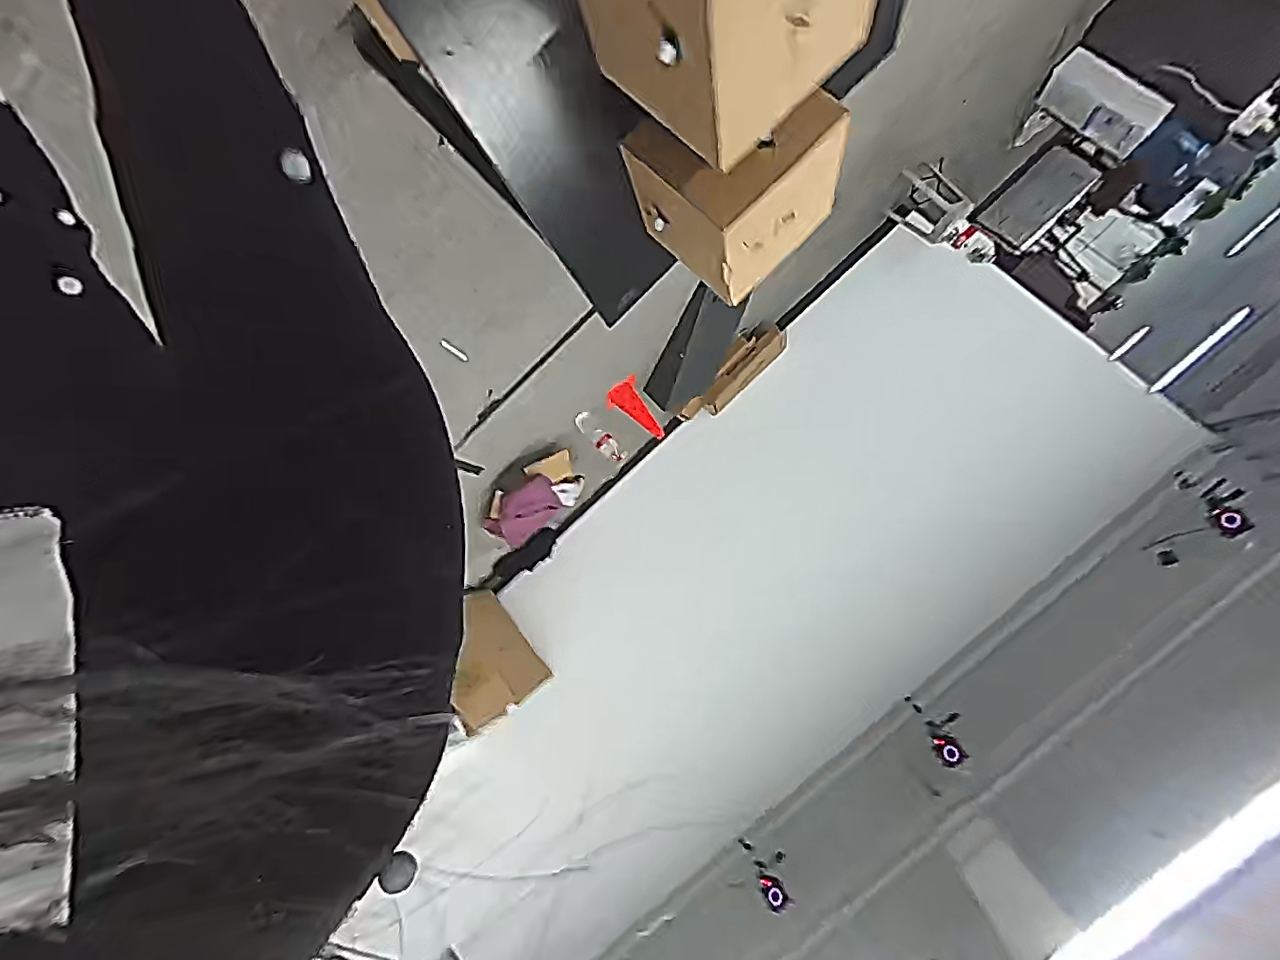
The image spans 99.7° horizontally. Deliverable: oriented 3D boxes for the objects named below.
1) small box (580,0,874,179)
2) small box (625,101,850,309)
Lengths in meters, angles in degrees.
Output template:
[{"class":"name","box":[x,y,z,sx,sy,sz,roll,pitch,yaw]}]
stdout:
[{"class":"small box","box":[0.060,-0.384,0.402,0.168,0.176,0.179,-43,166,2]},{"class":"small box","box":[0.111,-0.350,0.640,0.179,0.176,0.168,-43,165,3]}]
